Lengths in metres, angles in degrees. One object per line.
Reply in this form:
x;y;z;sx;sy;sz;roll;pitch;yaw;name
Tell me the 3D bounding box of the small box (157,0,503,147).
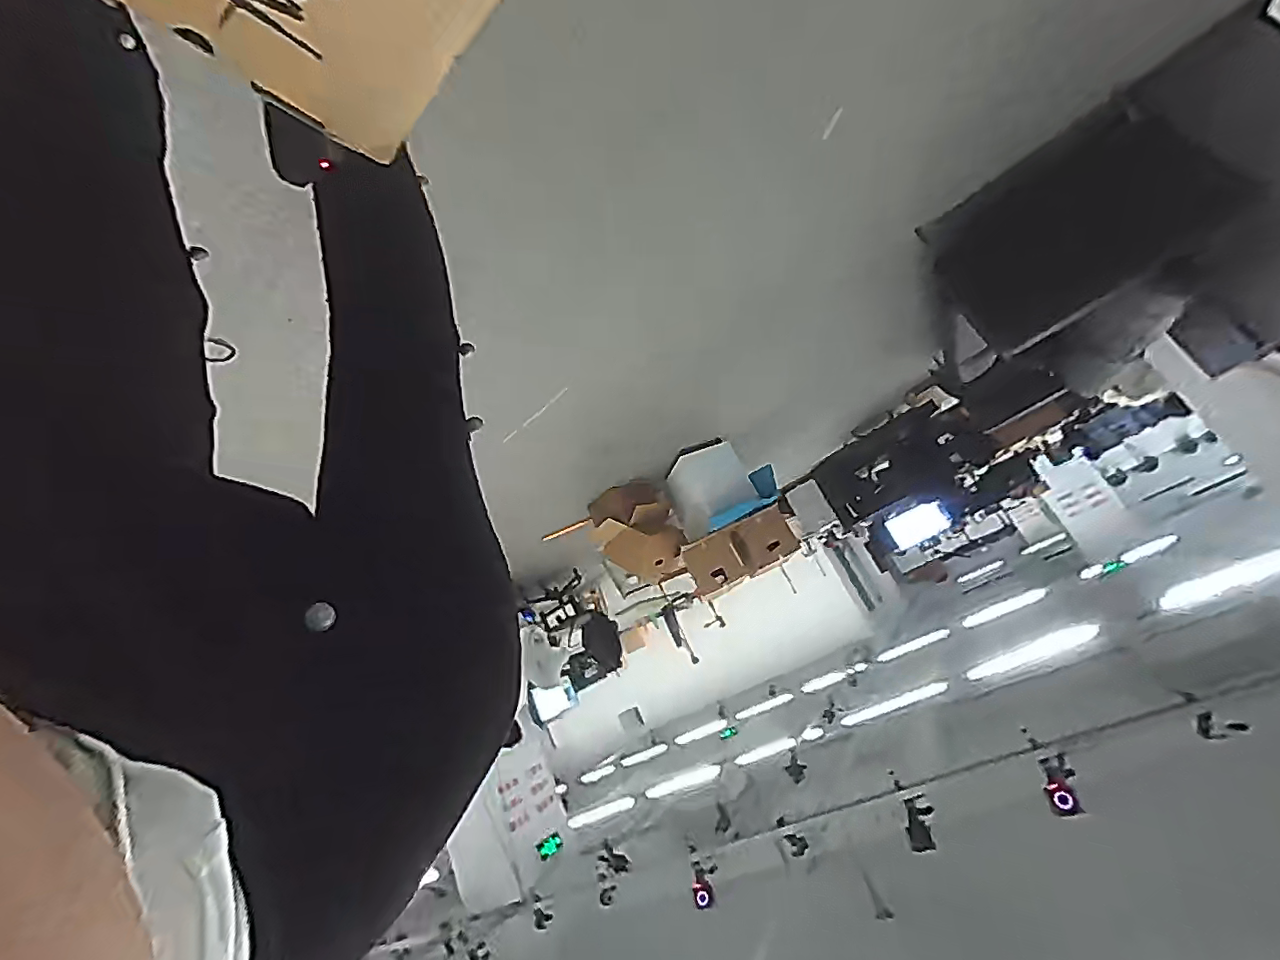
-0.142;-0.294;0.210;0.179;0.176;0.168;-34;158;27;small box
